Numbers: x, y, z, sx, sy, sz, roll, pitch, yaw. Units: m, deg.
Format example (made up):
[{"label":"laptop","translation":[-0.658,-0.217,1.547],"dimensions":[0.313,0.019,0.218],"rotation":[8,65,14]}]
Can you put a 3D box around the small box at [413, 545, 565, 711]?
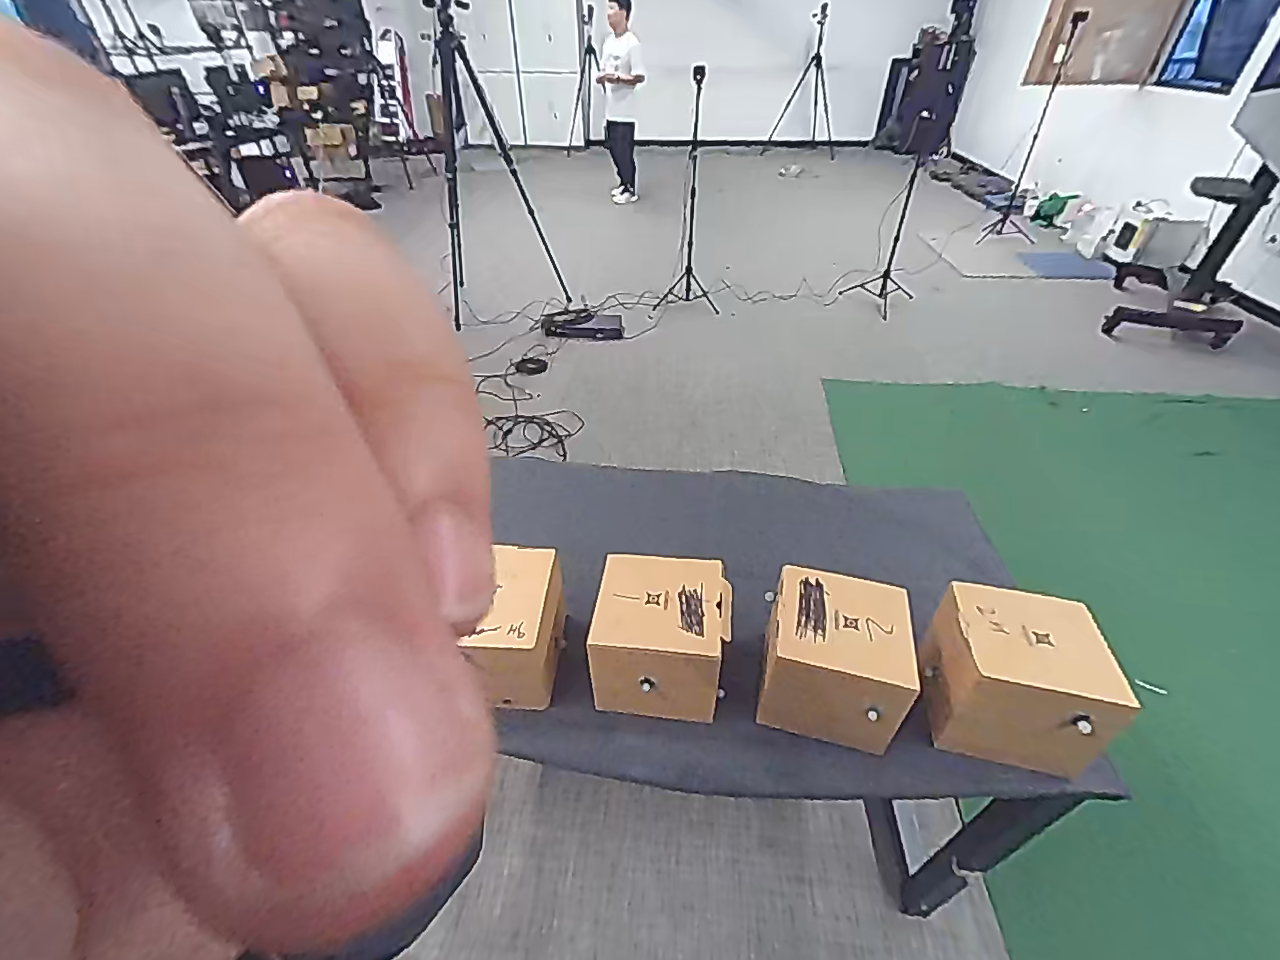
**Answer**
[{"label":"small box","translation":[-0.212,0.220,0.816],"dimensions":[0.168,0.176,0.179],"rotation":[1,40,4]}]
